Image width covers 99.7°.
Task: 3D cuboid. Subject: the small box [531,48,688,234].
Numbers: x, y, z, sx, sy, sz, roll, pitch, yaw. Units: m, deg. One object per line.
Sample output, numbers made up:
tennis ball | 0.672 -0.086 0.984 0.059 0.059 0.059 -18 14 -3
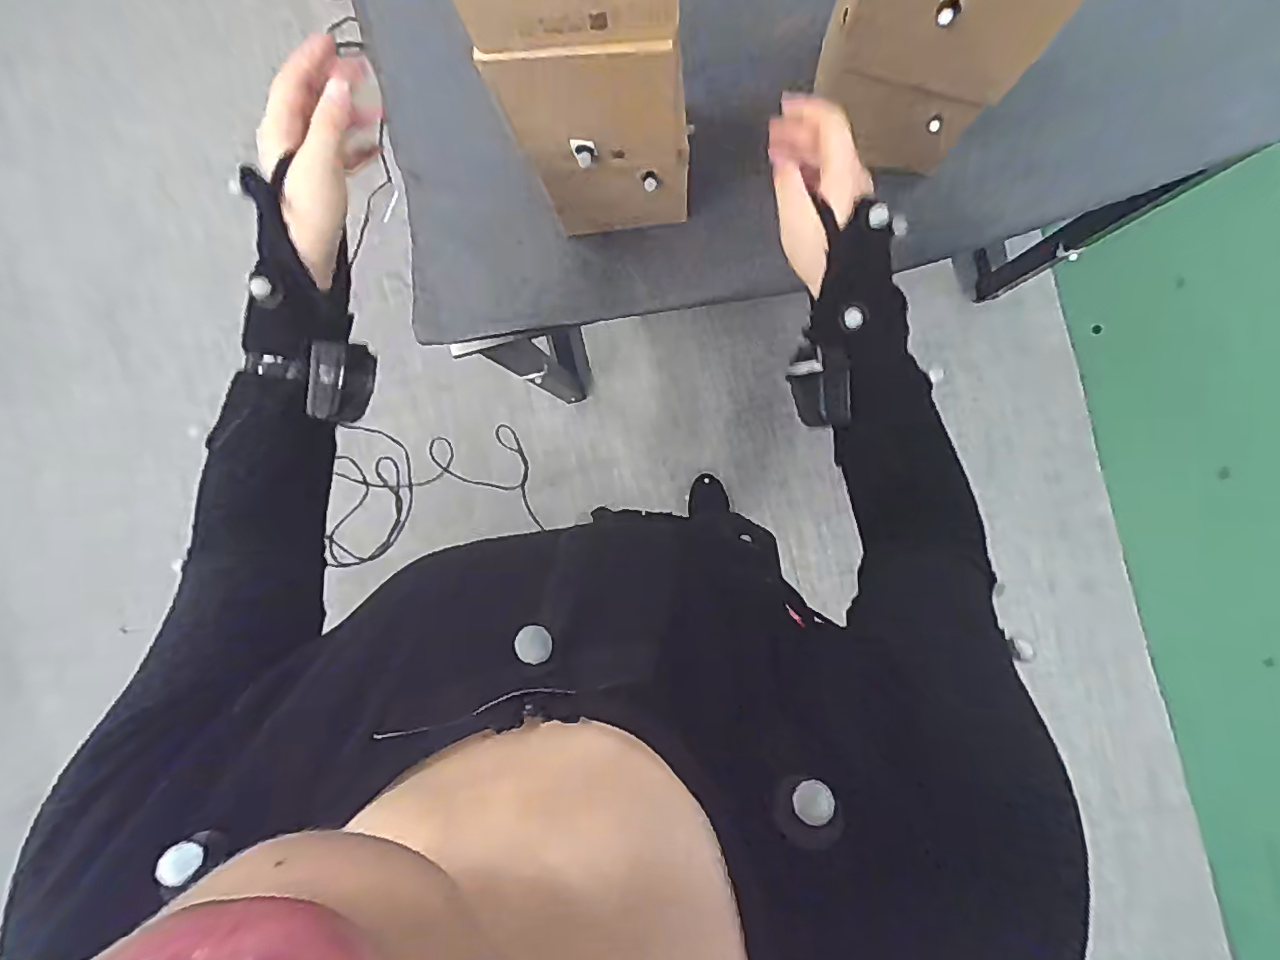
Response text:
small box | -0.035 -0.432 0.677 0.179 0.176 0.168 -5 90 5

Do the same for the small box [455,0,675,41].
small box | -0.062 -0.430 0.352 0.168 0.176 0.179 -1 91 5

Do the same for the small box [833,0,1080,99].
small box | 0.302 -0.489 0.485 0.179 0.176 0.168 18 91 4

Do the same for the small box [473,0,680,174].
small box | -0.048 -0.426 0.515 0.168 0.176 0.179 0 91 6
